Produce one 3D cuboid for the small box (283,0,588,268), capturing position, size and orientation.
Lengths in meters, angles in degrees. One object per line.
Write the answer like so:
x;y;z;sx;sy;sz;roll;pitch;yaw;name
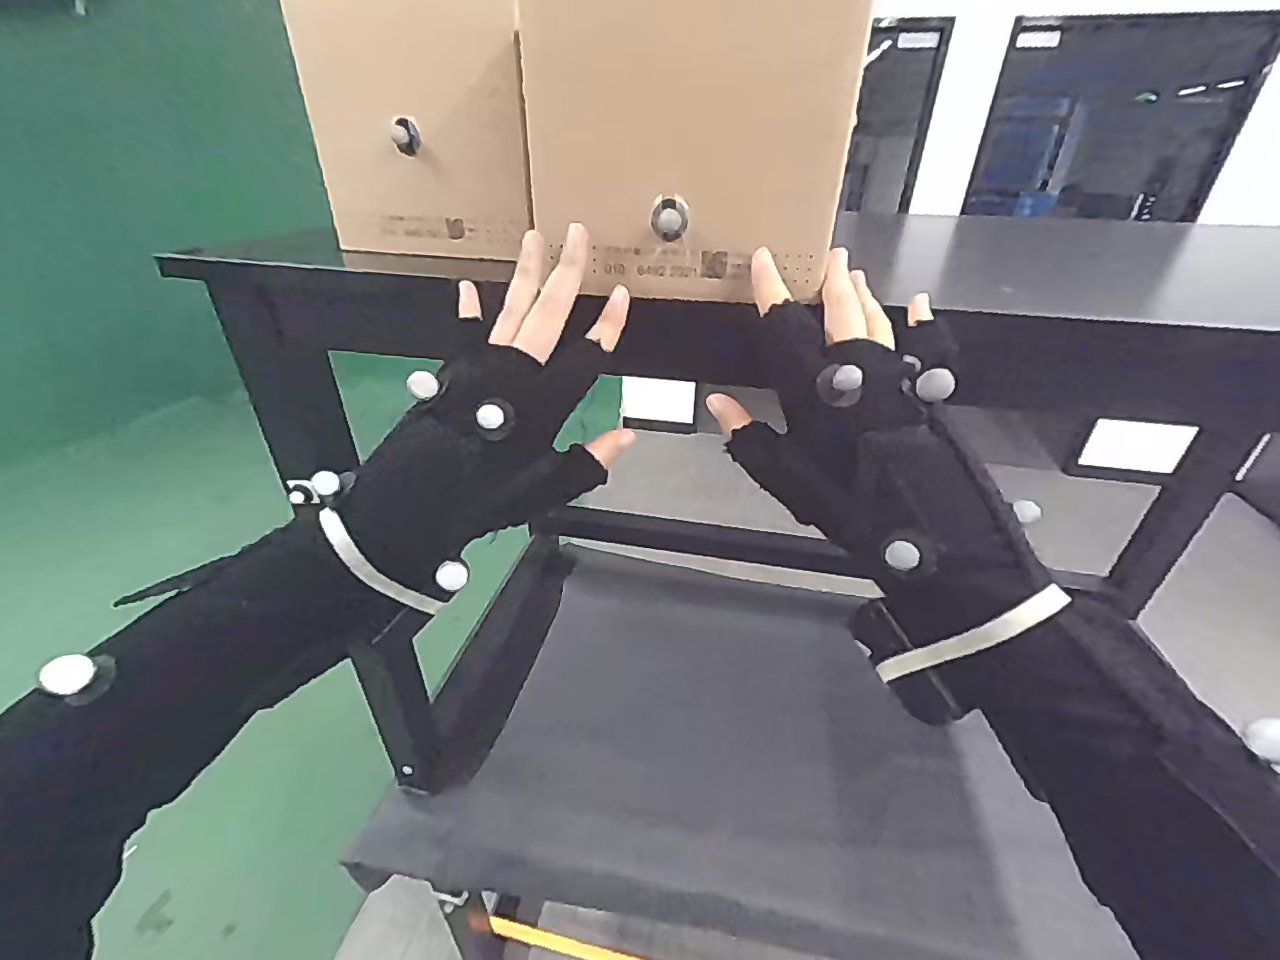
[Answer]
-0.143;-0.282;0.456;0.168;0.176;0.179;8;31;9;small box
